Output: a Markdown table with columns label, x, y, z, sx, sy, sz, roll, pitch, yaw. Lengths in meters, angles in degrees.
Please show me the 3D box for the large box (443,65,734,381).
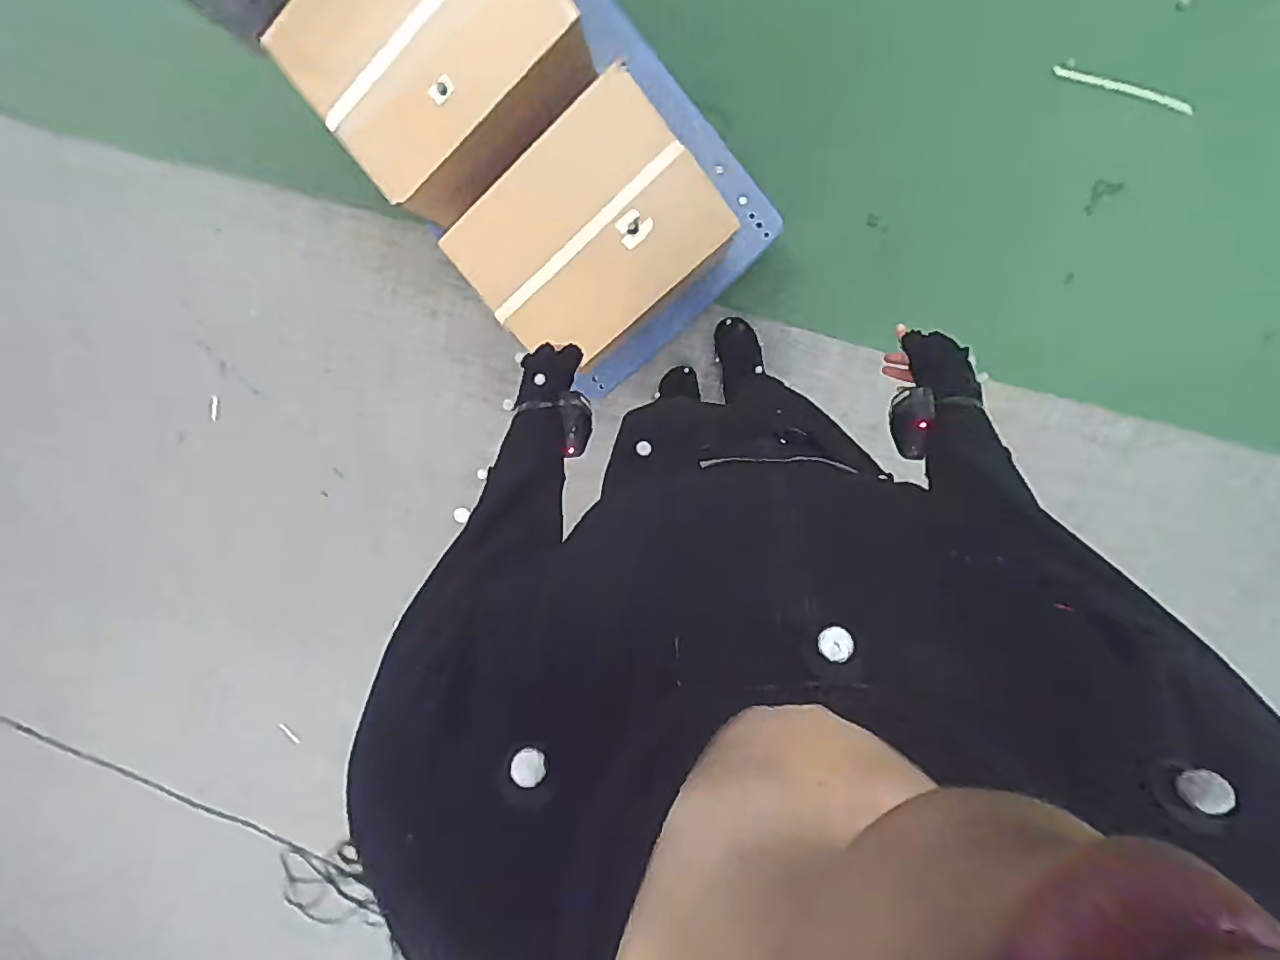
| label | x | y | z | sx | sy | sz | roll | pitch | yaw |
| --- | --- | --- | --- | --- | --- | --- | --- | --- | --- |
| large box | -0.081 | -0.437 | 1.036 | 0.408 | 0.320 | 0.320 | -38 | 98 | 12 |
